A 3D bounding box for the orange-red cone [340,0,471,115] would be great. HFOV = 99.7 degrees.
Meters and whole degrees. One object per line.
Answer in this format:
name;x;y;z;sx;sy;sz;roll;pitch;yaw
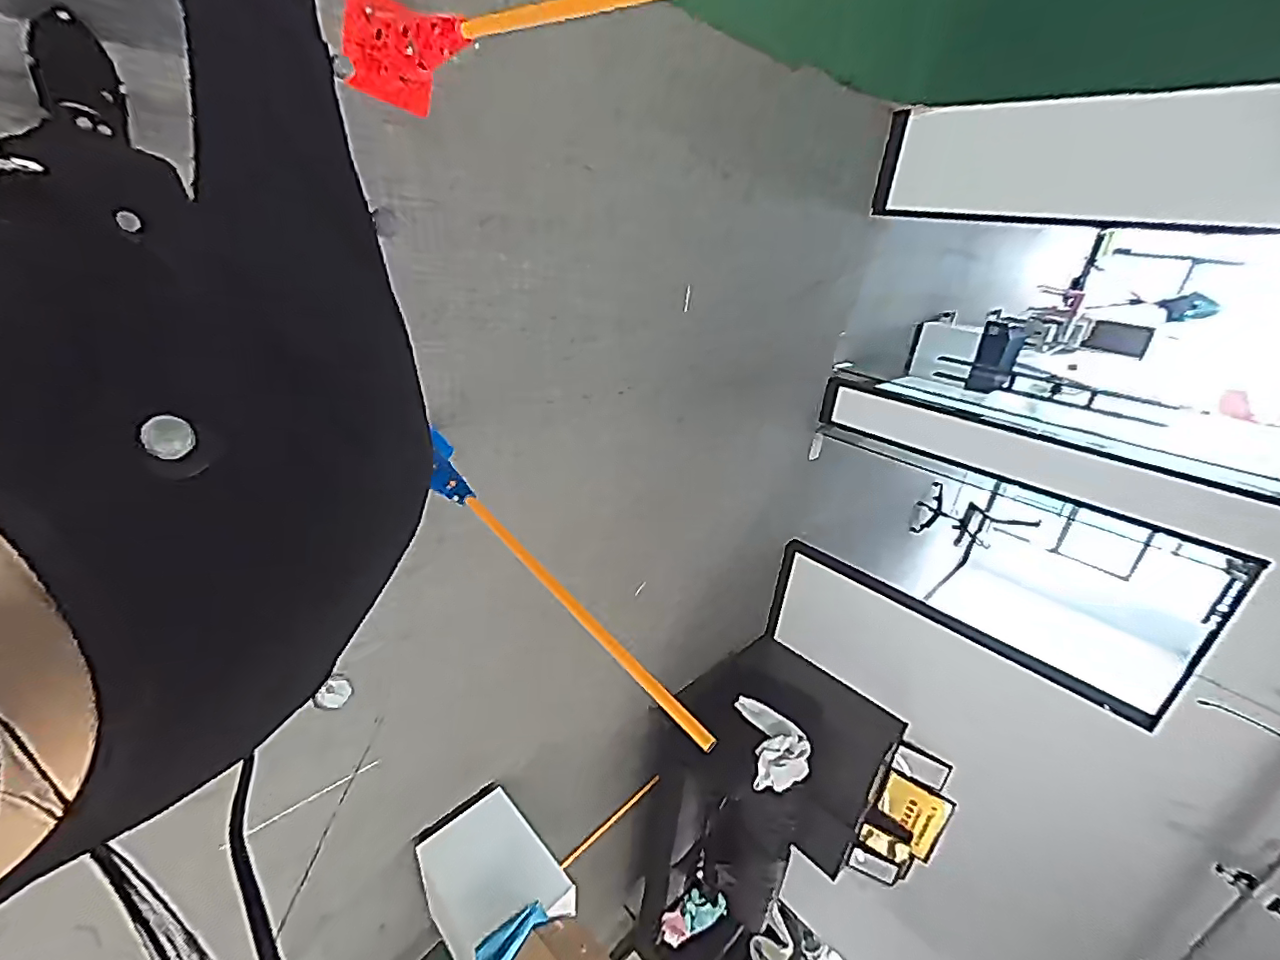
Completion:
orange-red cone;-0.450;-0.907;1.119;0.198;0.360;0.199;-3;114;-47
